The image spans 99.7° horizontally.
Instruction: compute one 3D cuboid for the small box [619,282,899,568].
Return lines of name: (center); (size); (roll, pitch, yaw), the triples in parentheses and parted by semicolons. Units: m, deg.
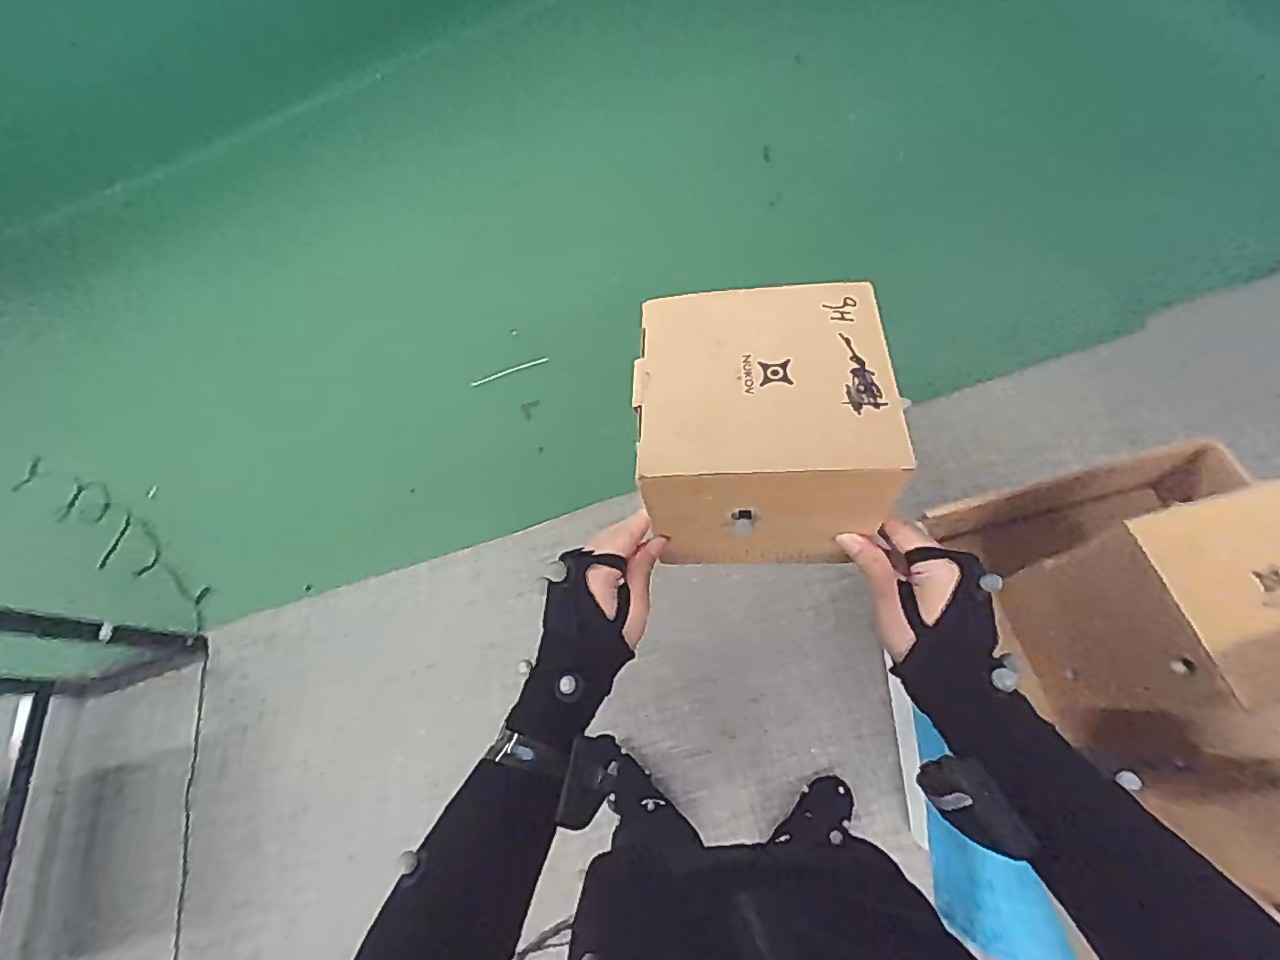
small box: (0.088, -0.032, 0.445); (0.179, 0.176, 0.168); (-3, 60, 9)
